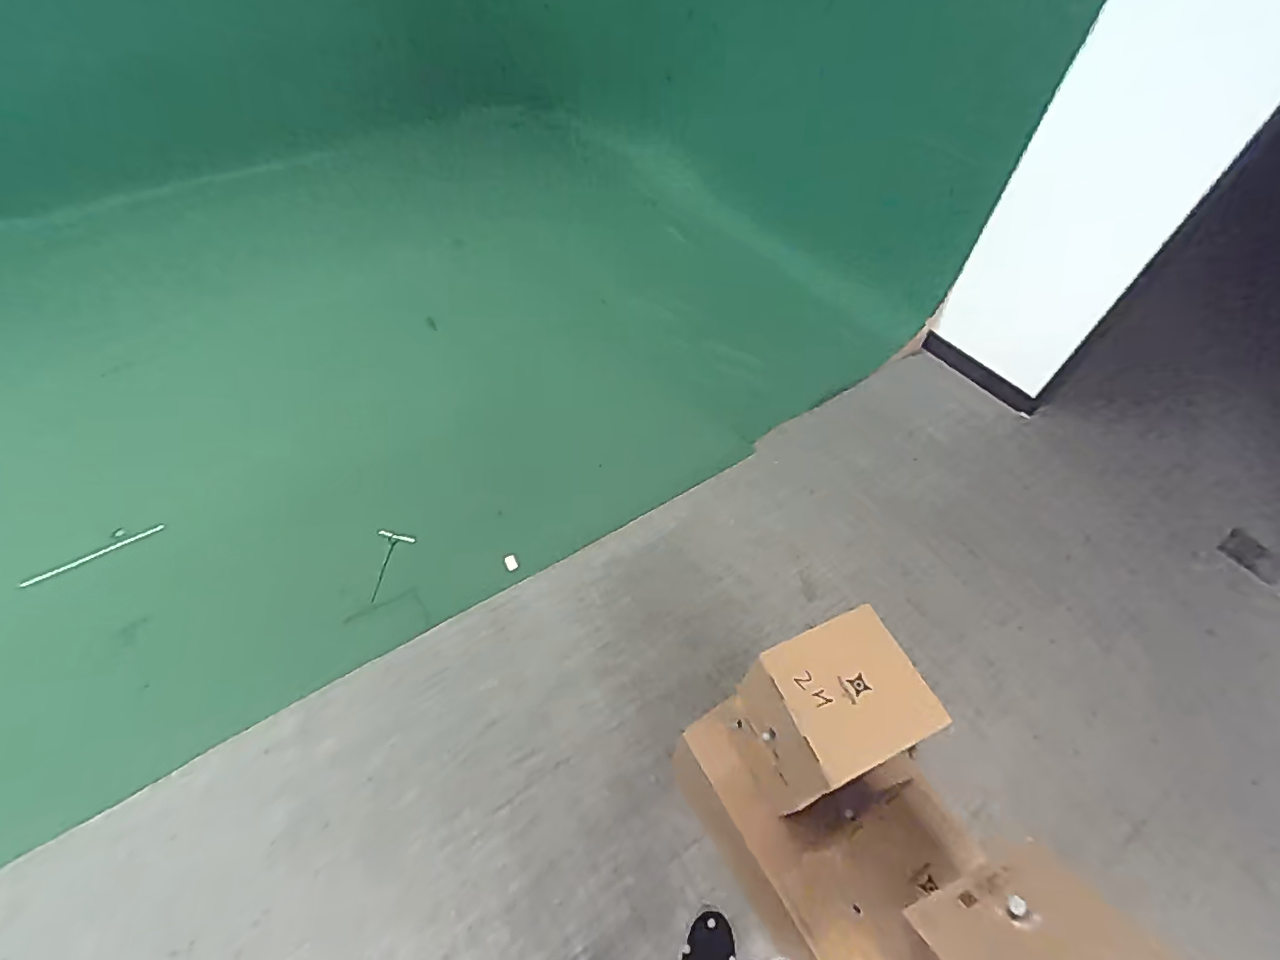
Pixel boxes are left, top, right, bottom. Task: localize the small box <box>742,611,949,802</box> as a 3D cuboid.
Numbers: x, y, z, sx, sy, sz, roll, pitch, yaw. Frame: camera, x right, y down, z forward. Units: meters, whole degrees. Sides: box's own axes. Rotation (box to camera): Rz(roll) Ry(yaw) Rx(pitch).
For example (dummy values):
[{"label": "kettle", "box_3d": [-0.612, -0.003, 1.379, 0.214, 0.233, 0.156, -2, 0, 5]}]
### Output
[{"label": "small box", "box_3d": [0.259, 0.307, 0.729, 0.179, 0.176, 0.168, -20, 57, -13]}]
